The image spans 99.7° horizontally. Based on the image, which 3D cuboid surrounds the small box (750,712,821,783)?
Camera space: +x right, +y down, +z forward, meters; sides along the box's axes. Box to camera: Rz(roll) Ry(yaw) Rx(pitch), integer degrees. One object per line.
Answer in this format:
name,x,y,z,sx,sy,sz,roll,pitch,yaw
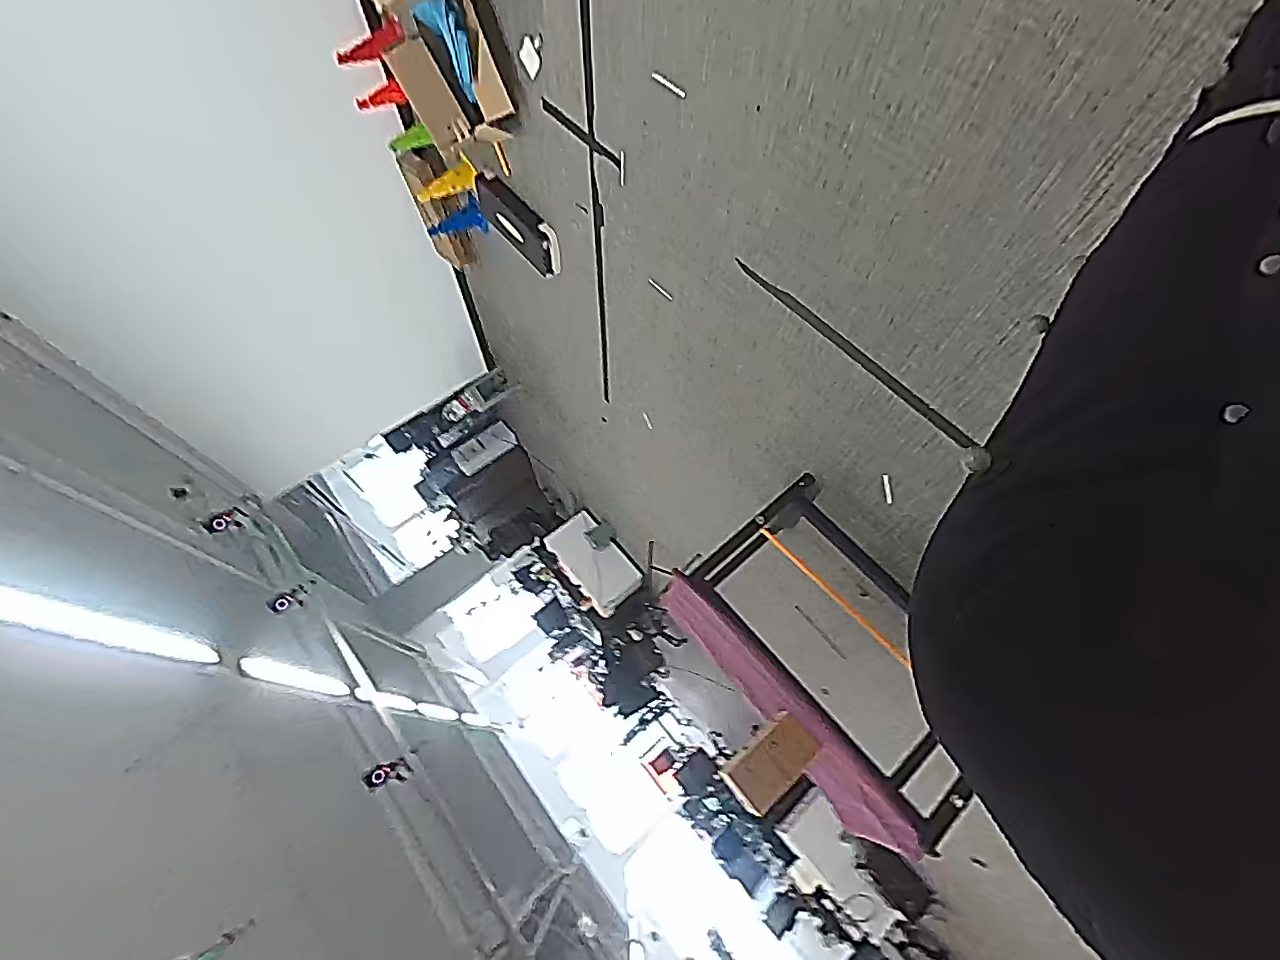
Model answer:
small box,0.548,1.005,2.040,0.179,0.176,0.168,48,161,19
